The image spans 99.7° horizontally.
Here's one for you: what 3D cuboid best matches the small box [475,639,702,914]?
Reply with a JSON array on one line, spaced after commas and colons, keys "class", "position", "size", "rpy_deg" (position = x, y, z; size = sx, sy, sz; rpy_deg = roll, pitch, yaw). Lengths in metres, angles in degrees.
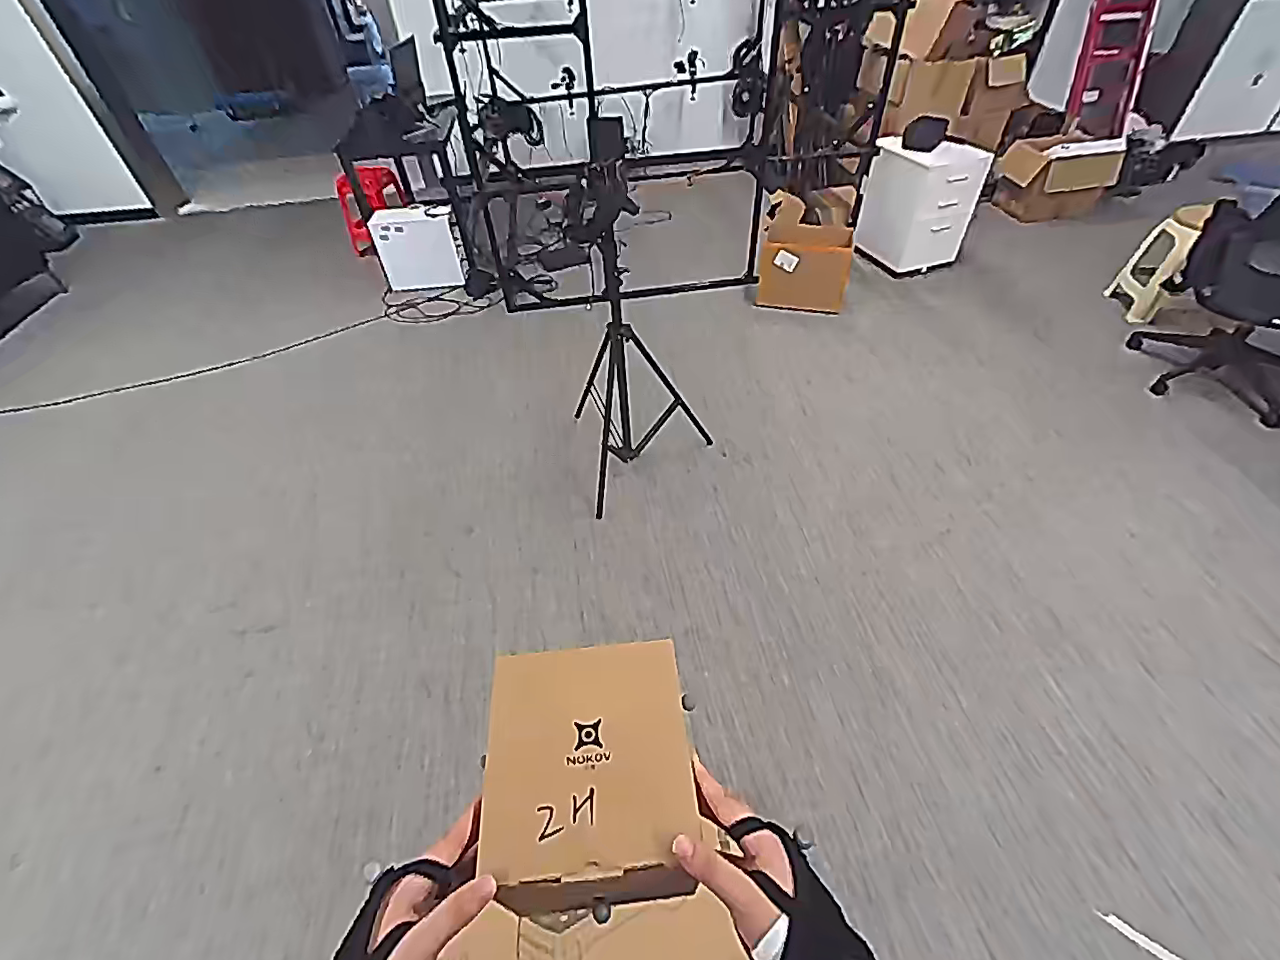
[{"class": "small box", "position": [-0.042, 0.272, 0.499], "size": [0.168, 0.176, 0.179], "rpy_deg": [-5, 46, -3]}]
